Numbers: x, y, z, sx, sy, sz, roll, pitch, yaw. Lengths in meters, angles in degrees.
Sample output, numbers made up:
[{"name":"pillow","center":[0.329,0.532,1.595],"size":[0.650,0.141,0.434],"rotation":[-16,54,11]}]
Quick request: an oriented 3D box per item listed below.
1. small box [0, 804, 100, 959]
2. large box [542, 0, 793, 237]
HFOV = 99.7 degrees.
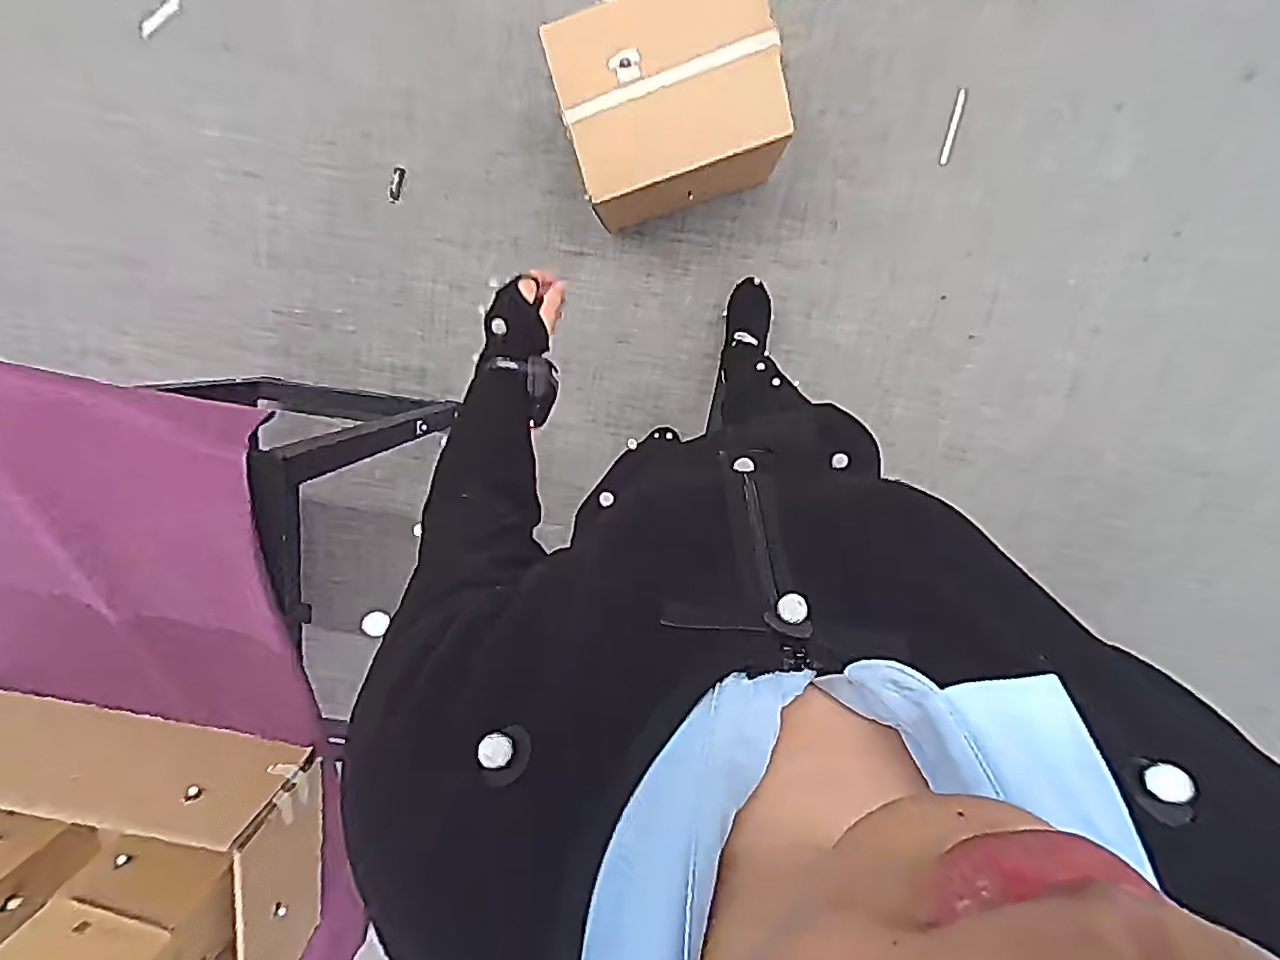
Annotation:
[{"name":"small box","center":[-0.985,0.631,0.819],"size":[0.168,0.176,0.179],"rotation":[6,103,1]},{"name":"large box","center":[0.064,-0.757,1.136],"size":[0.408,0.320,0.320],"rotation":[-16,102,9]}]
